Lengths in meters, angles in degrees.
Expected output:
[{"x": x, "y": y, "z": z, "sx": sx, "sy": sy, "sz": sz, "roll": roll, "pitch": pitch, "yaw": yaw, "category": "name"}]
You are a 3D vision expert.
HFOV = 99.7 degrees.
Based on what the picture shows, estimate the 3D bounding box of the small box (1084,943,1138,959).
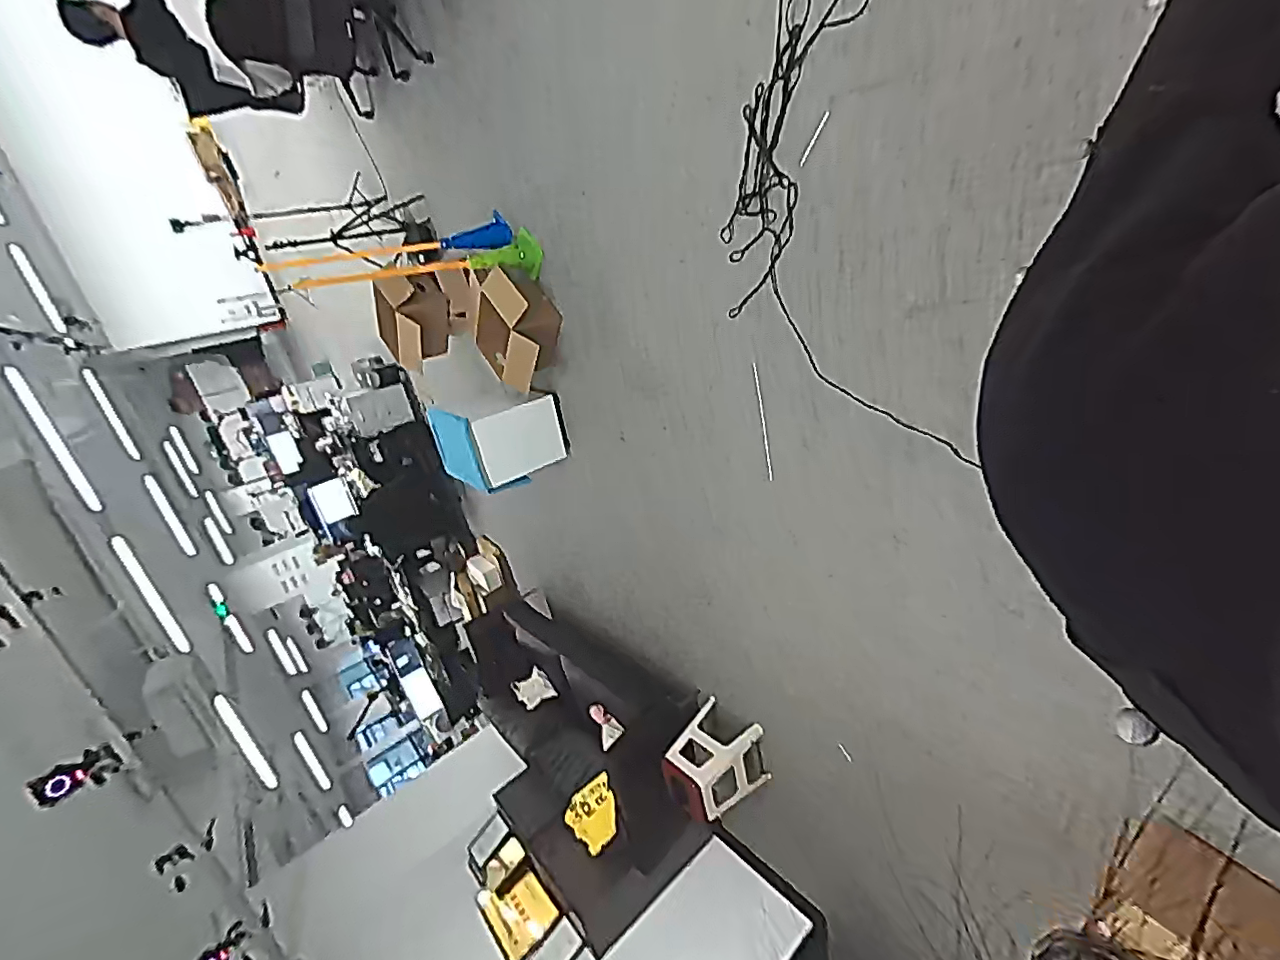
[{"x": 1.182, "y": 1.291, "z": 1.315, "sx": 0.168, "sy": 0.176, "sz": 0.179, "roll": 34, "pitch": 138, "yaw": 37, "category": "small box"}]
